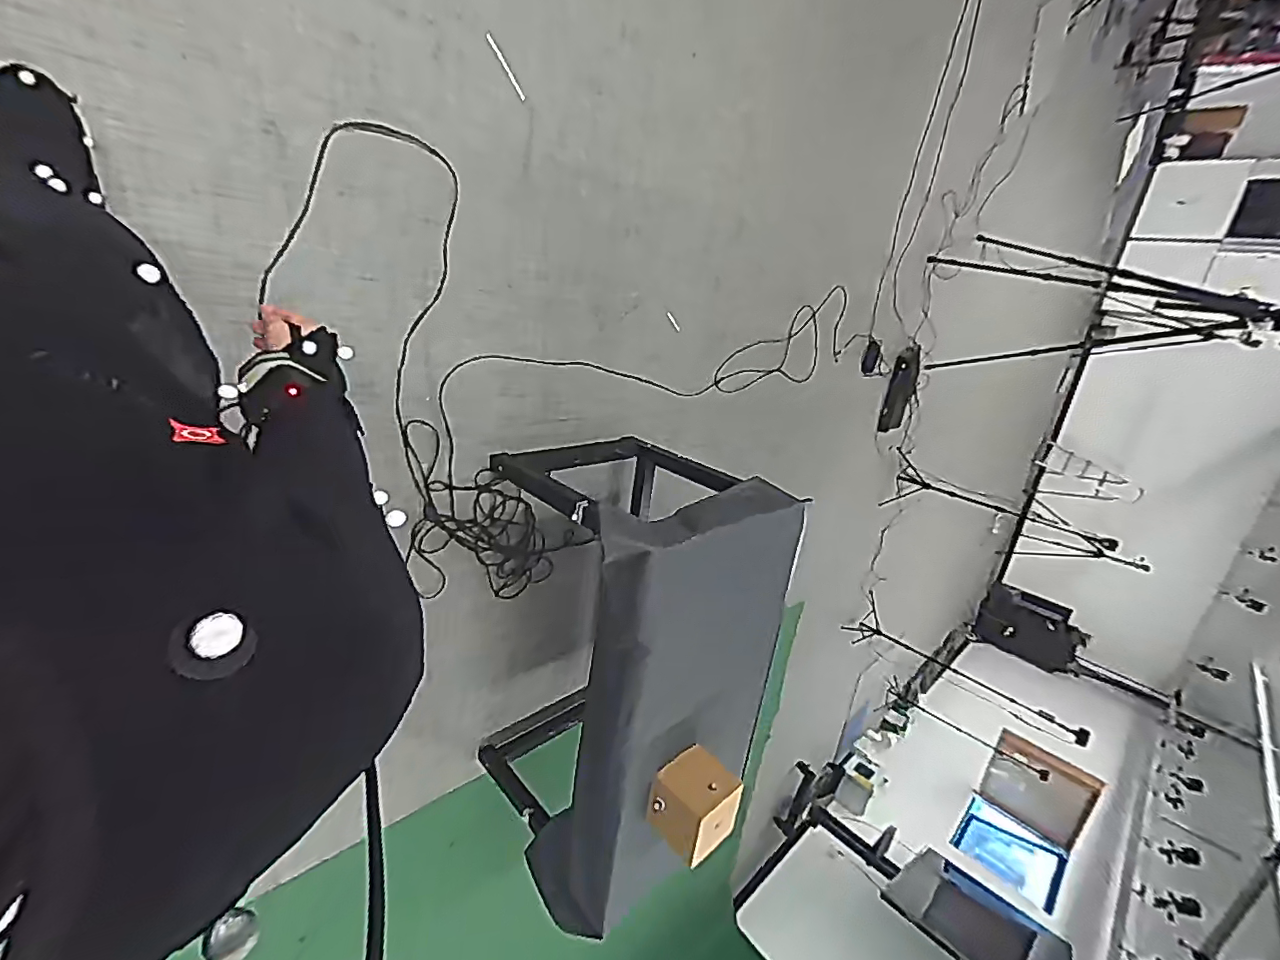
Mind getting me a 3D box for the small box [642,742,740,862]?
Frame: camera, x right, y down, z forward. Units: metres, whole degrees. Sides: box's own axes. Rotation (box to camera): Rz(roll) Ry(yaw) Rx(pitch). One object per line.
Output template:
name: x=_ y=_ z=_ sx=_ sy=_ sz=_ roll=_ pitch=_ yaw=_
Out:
small box: x=0.131 y=0.832 z=1.418 sx=0.179 sy=0.176 sz=0.168 roll=-10 pitch=115 yaw=-43
